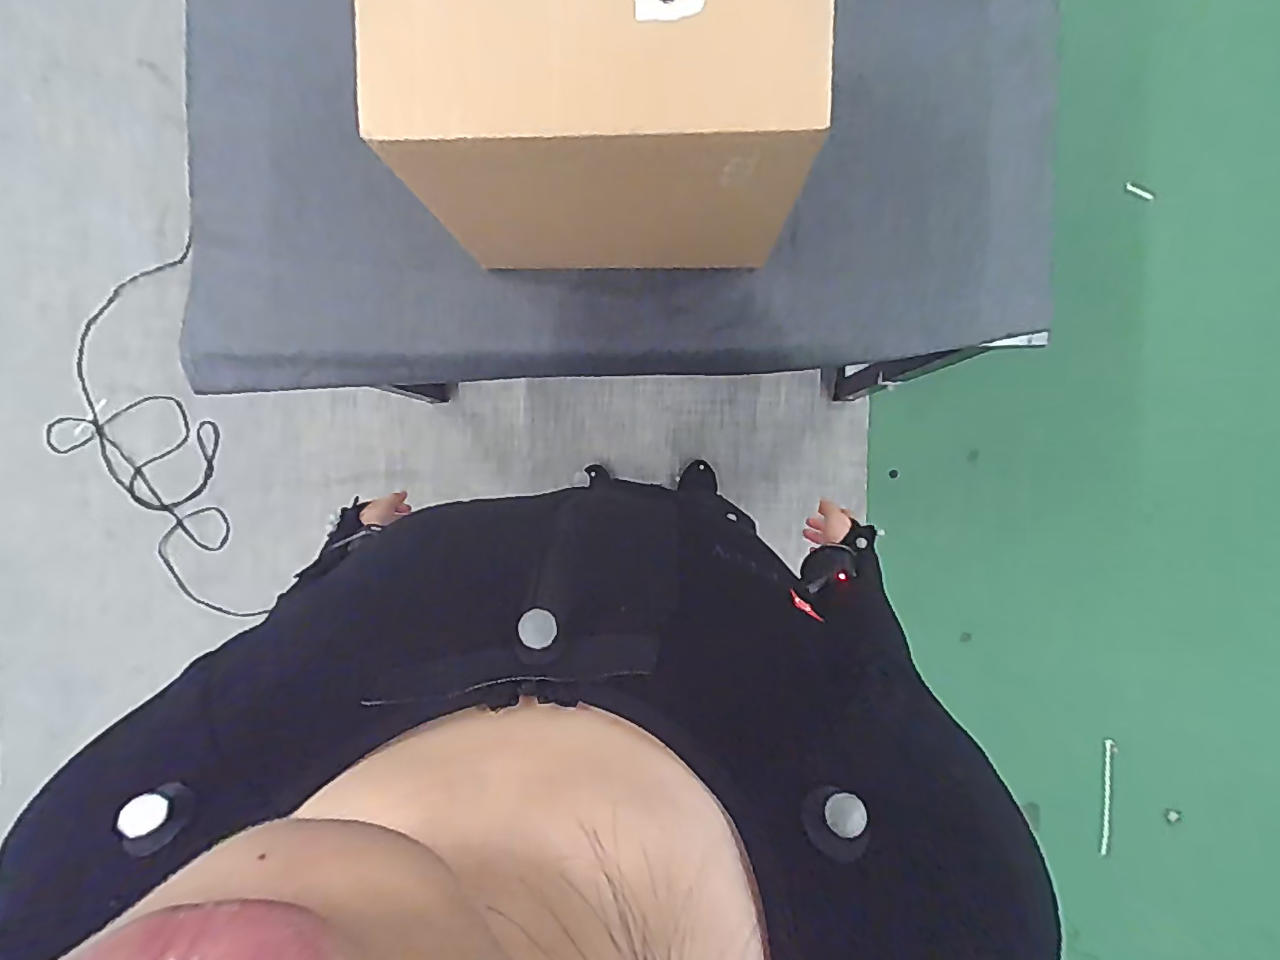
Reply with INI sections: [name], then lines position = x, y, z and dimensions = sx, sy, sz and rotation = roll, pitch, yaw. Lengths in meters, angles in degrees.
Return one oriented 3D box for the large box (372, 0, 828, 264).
[large box]
position = -0.035, -0.461, 0.618
dimensions = 0.408, 0.320, 0.320
rotation = 0, 92, 2
